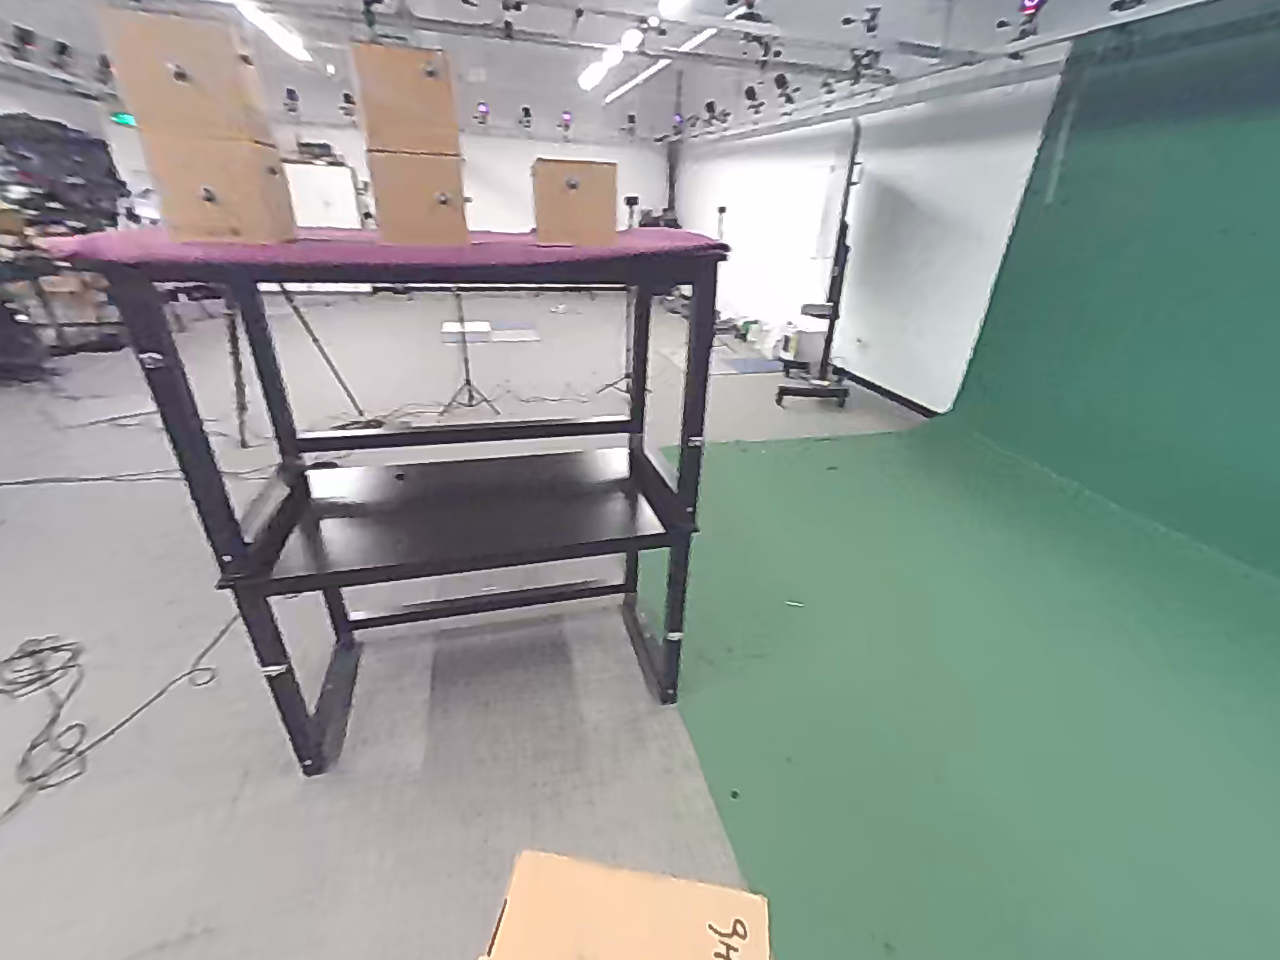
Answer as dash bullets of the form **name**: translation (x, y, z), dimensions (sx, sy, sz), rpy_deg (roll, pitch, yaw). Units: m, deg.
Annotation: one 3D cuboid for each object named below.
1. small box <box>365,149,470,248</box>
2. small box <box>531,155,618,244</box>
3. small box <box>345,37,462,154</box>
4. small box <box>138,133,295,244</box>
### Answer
- **small box**: translation (-0.452, -0.584, 1.127), dimensions (0.179, 0.176, 0.168), rpy_deg (-7, 28, -15)
- **small box**: translation (-0.149, -0.630, 1.228), dimensions (0.179, 0.176, 0.168), rpy_deg (-5, 26, -13)
- **small box**: translation (-0.451, -0.730, 1.054), dimensions (0.179, 0.176, 0.168), rpy_deg (-7, 28, -17)
- **small box**: translation (-0.773, -0.540, 1.012), dimensions (0.168, 0.176, 0.179), rpy_deg (-6, 29, -17)
